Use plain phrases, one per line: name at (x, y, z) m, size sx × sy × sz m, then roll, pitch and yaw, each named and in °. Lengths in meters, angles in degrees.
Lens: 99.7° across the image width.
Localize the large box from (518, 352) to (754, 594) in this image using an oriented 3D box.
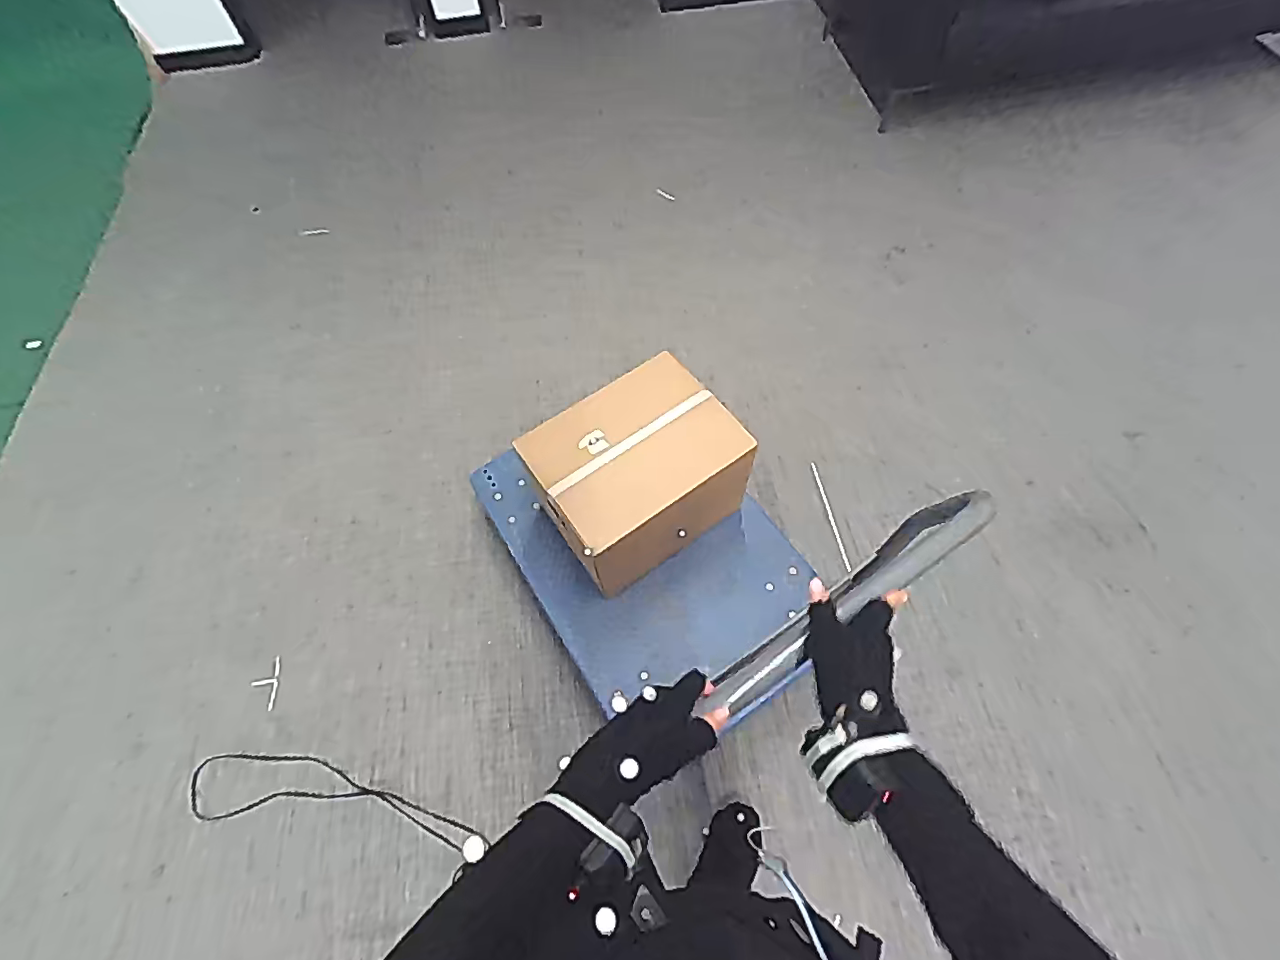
large box at (0.000, -0.006, 1.242) m, size 0.408 × 0.320 × 0.320 m, roll -35°, pitch 65°, yaw -12°
